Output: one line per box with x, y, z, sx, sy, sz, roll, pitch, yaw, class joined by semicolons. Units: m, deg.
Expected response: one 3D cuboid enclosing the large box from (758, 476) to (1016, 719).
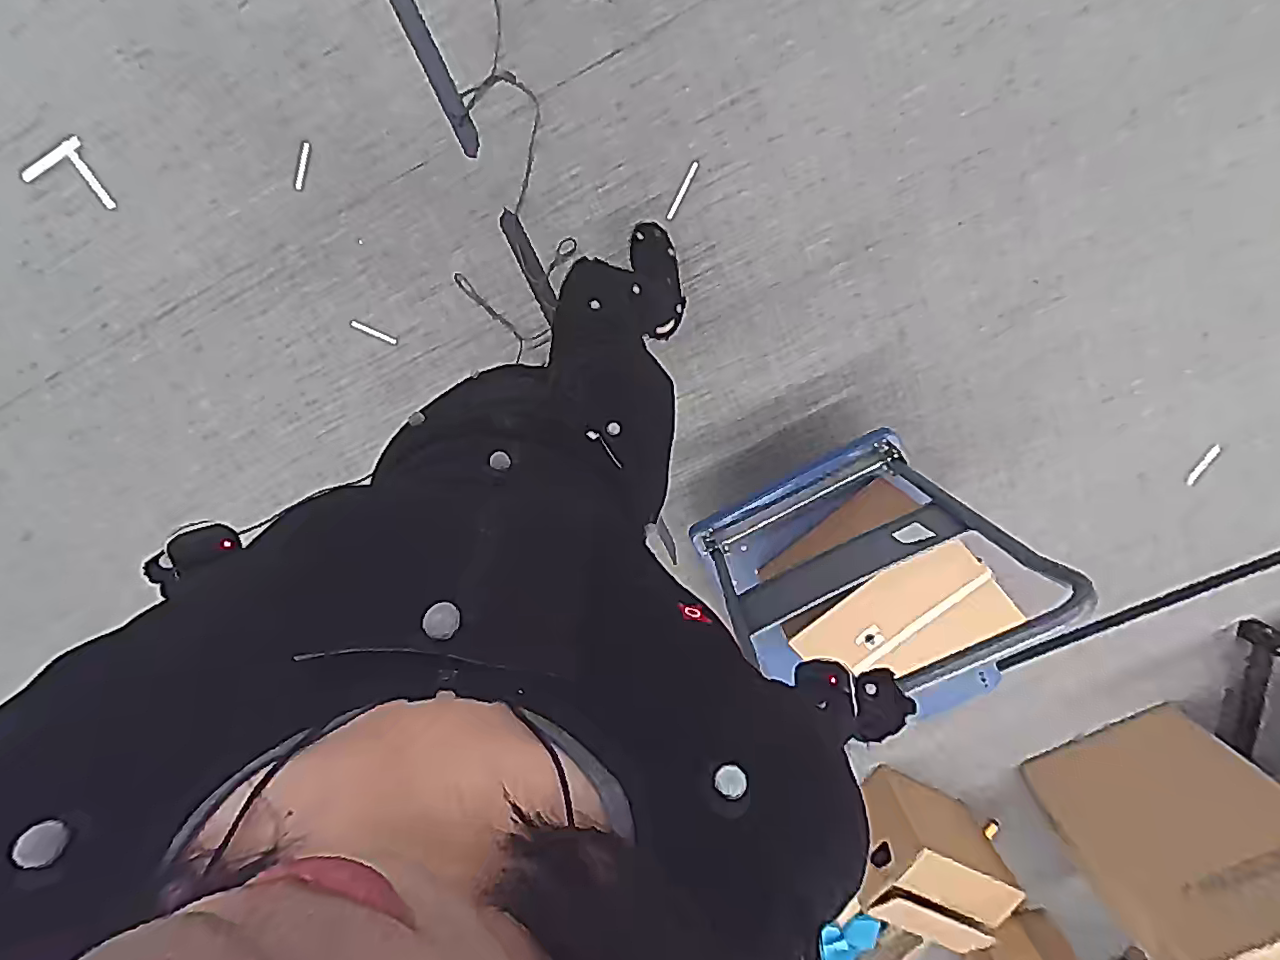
0.555;0.264;1.292;0.408;0.320;0.320;-42;103;13;large box
